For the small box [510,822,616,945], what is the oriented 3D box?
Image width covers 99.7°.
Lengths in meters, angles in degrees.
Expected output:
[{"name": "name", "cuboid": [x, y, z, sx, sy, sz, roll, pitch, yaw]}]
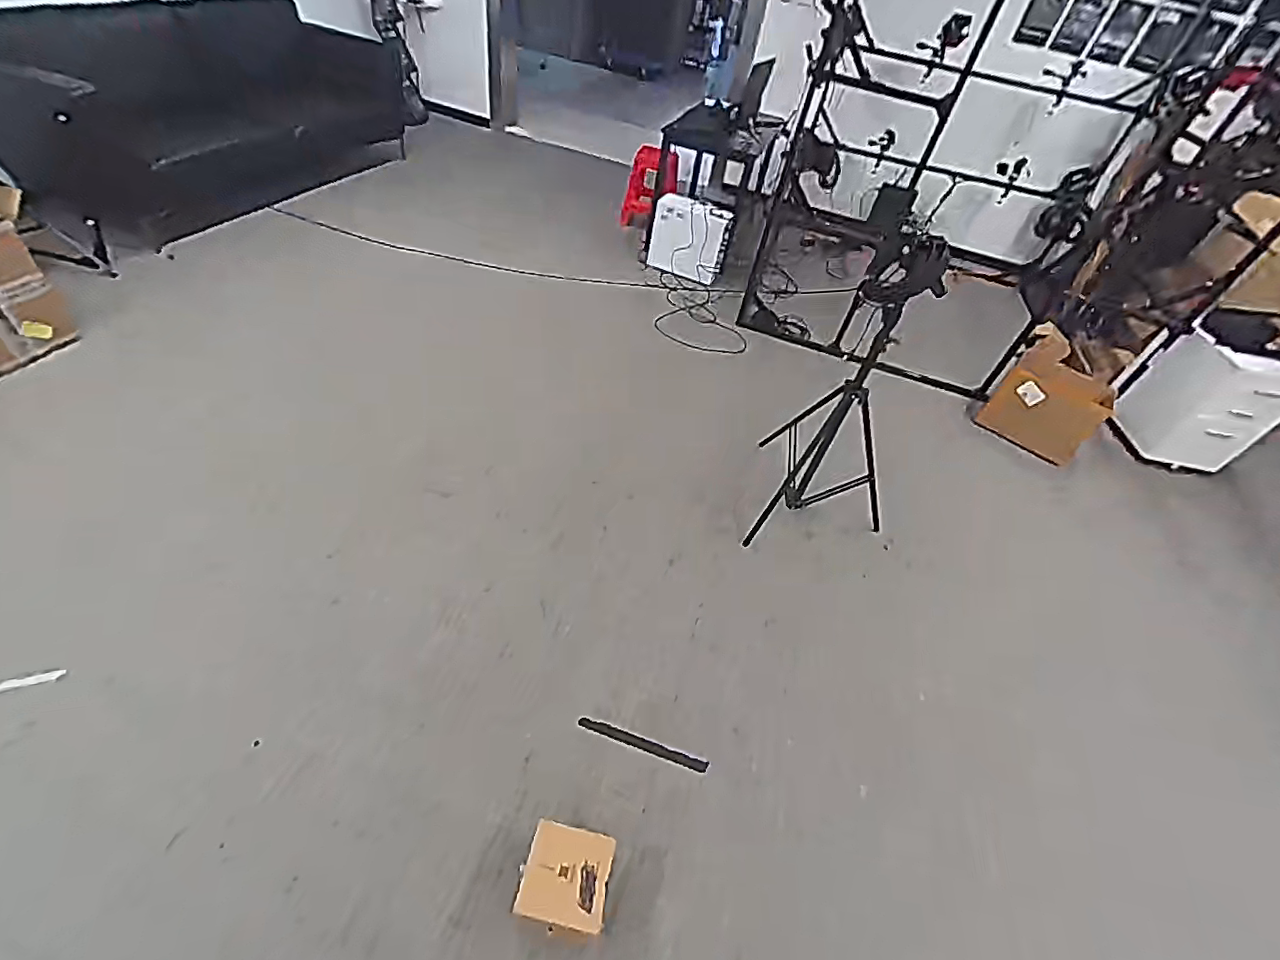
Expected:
[{"name": "small box", "cuboid": [-0.162, 0.860, 1.148, 0.179, 0.176, 0.168, 14, 44, 3]}]
